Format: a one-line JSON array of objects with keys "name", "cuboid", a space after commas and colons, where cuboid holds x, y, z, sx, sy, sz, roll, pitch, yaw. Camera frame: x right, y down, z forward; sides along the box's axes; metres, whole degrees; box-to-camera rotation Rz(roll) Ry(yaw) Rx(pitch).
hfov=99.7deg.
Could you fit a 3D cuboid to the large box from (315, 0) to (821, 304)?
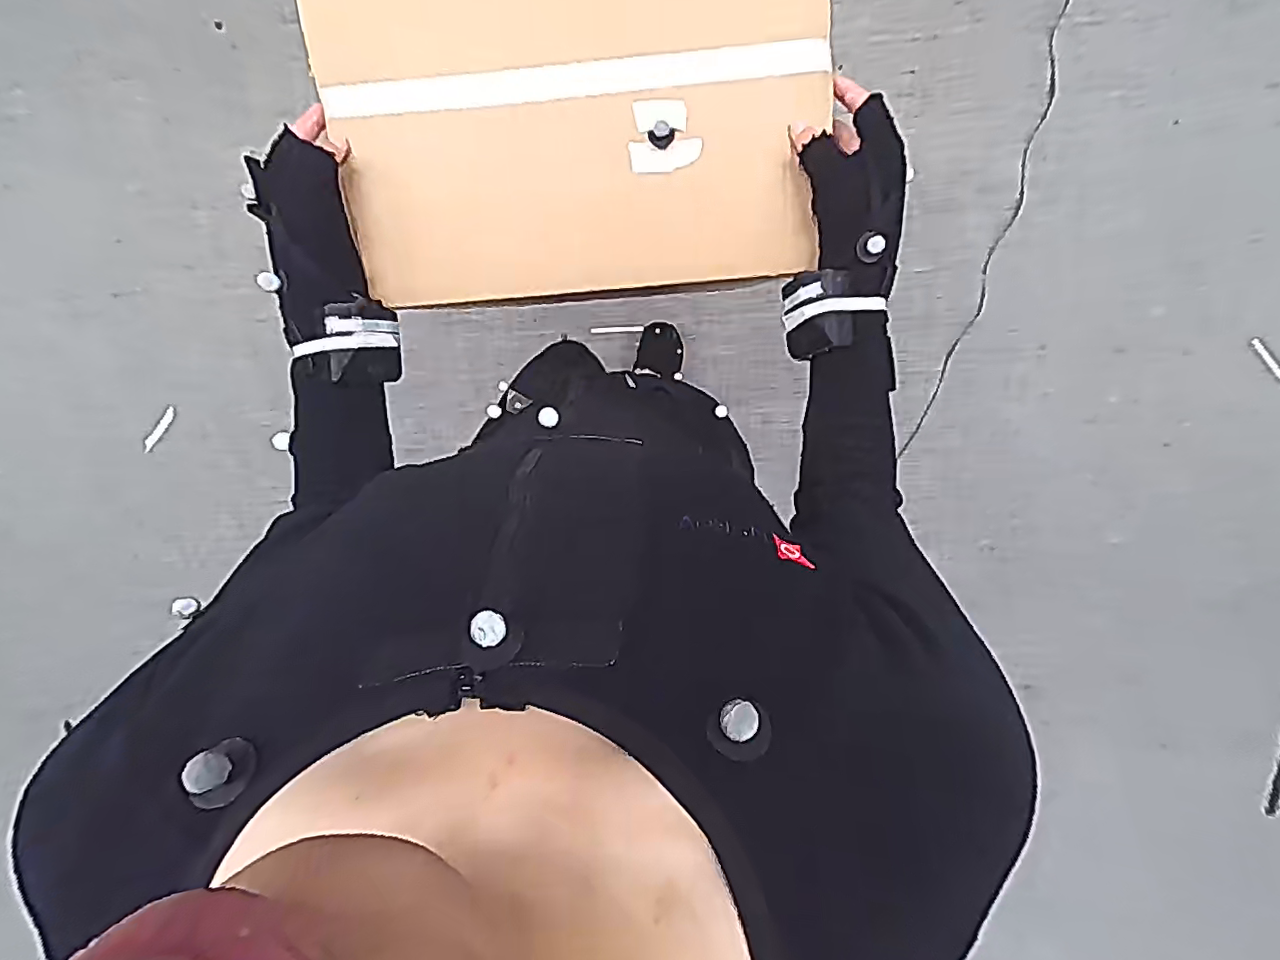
[{"name": "large box", "cuboid": [-0.055, -0.373, 0.581, 0.408, 0.320, 0.320, -5, 108, 1]}]
